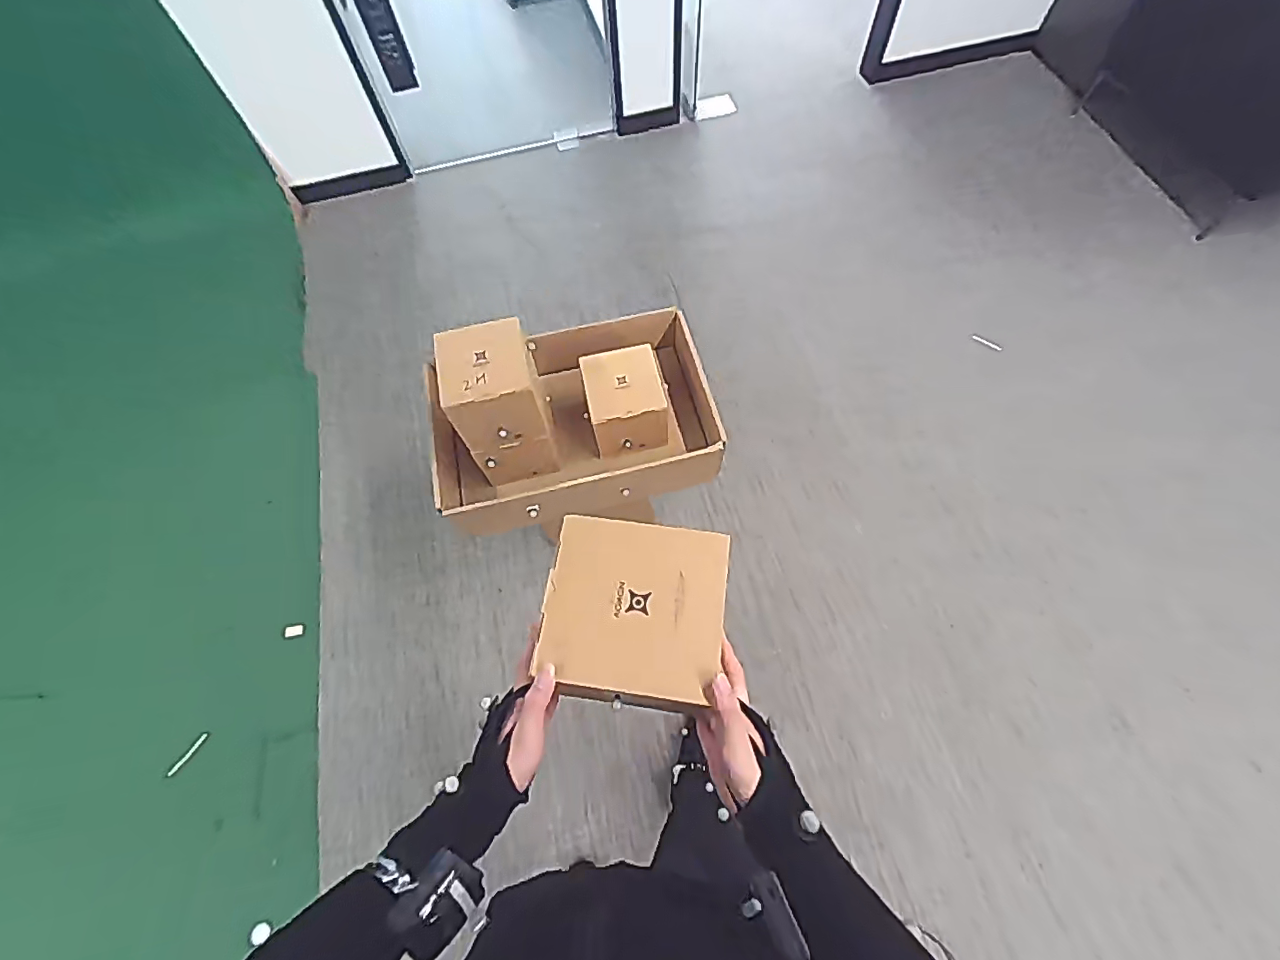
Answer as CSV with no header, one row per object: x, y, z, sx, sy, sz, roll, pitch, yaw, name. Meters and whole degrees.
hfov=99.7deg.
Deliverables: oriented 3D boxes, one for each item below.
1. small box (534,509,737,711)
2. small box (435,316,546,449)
0.002,0.149,0.589,0.179,0.176,0.168,8,63,4,small box
-0.289,-0.187,1.062,0.168,0.176,0.179,-13,65,-4,small box
